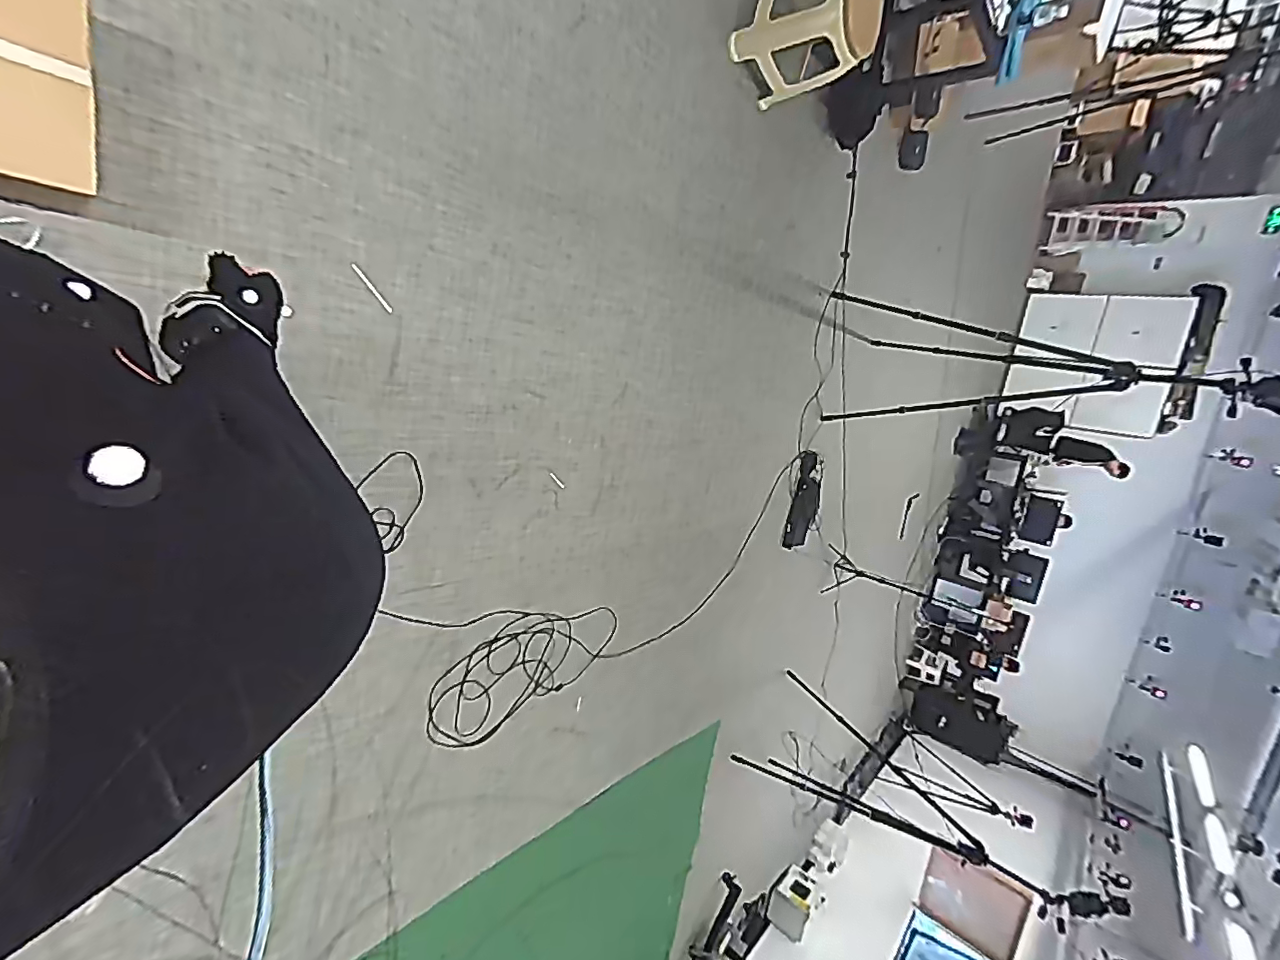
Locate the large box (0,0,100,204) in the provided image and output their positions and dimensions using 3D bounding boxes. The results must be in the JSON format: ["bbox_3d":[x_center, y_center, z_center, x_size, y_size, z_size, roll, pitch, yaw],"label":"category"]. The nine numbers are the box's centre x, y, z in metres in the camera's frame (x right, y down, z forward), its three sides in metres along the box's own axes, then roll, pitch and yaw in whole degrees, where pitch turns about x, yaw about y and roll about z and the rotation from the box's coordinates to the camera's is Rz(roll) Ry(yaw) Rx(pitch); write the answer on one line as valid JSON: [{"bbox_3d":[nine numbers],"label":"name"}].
[{"bbox_3d":[-1.033,-0.610,0.727,0.408,0.320,0.320,-4,107,-49],"label":"large box"}]
